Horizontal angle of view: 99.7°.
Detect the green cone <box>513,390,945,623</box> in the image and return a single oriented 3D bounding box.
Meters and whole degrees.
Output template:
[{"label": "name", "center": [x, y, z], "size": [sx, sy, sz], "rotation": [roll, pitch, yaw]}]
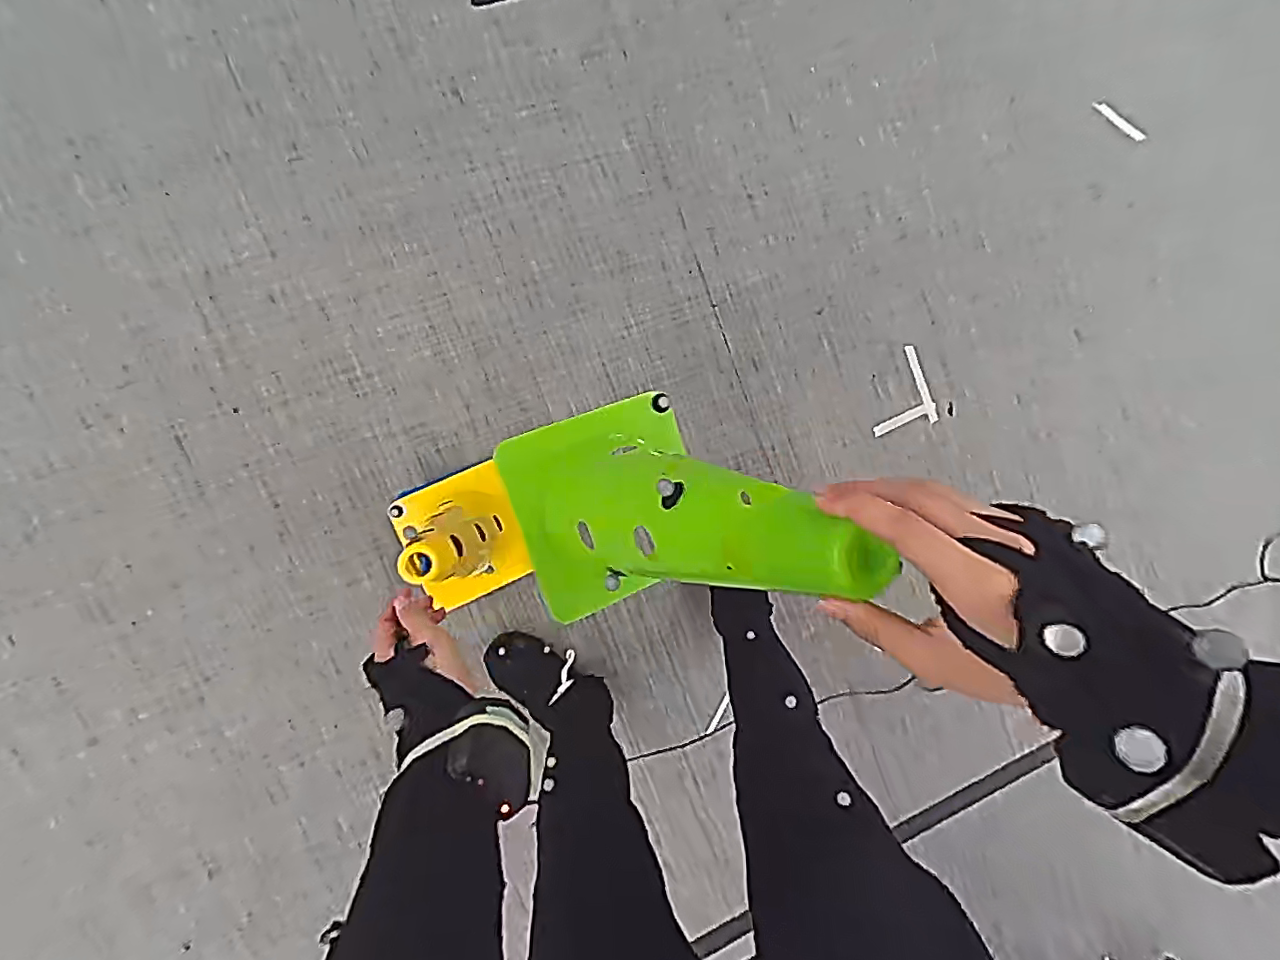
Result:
[{"label": "green cone", "center": [0.051, 0.031, 0.406], "size": [0.200, 0.368, 0.202], "rotation": [-22, 100, -20]}]
